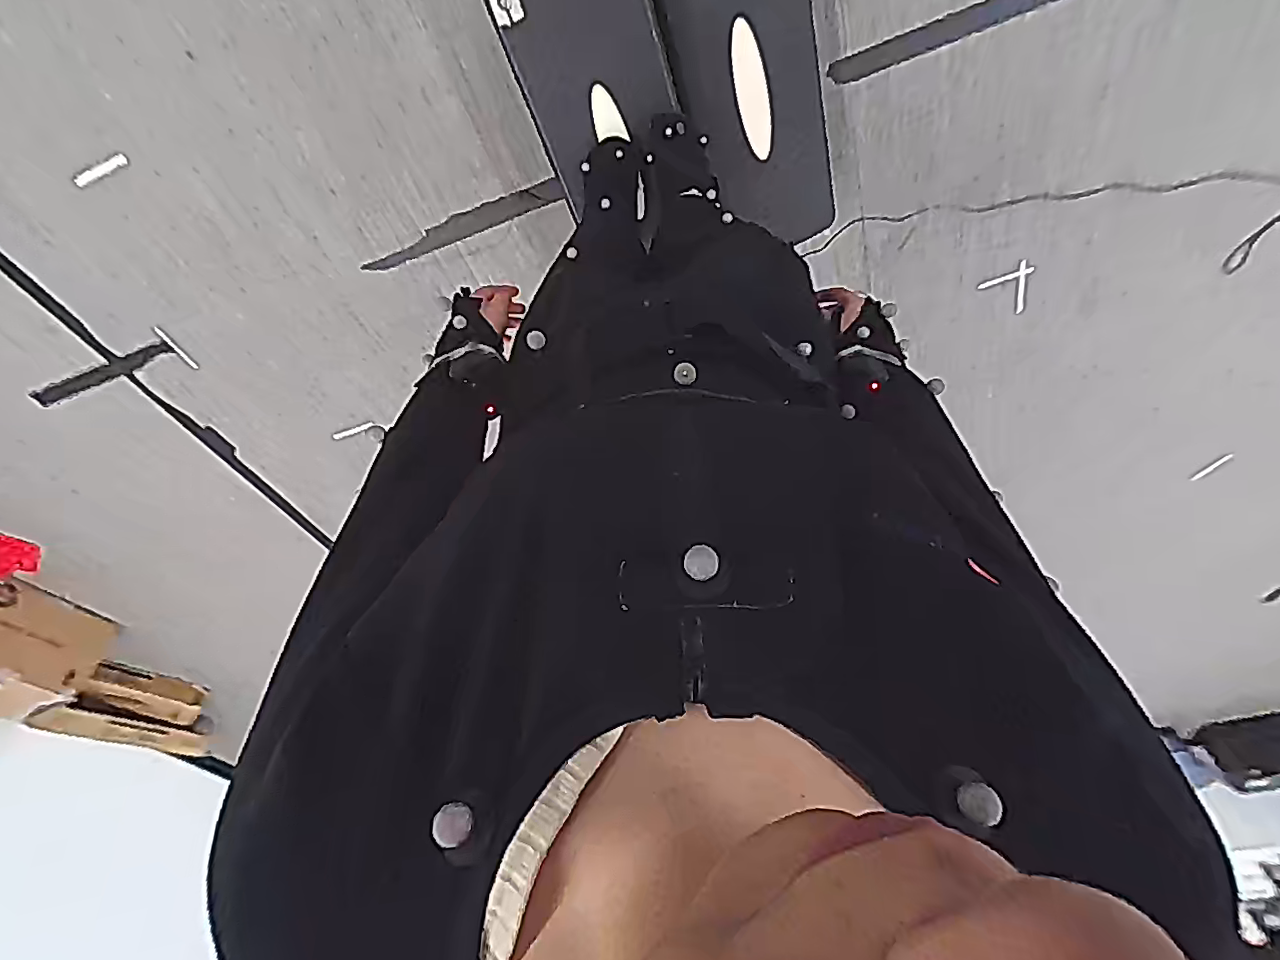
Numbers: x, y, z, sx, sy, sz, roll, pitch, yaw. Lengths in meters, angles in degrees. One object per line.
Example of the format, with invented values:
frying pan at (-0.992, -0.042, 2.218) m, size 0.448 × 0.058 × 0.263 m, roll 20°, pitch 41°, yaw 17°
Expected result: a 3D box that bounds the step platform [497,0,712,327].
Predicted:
step platform at (-0.043, -0.682, 1.162) m, size 0.286 × 0.204 × 0.684 m, roll -14°, pitch 127°, yaw 8°
